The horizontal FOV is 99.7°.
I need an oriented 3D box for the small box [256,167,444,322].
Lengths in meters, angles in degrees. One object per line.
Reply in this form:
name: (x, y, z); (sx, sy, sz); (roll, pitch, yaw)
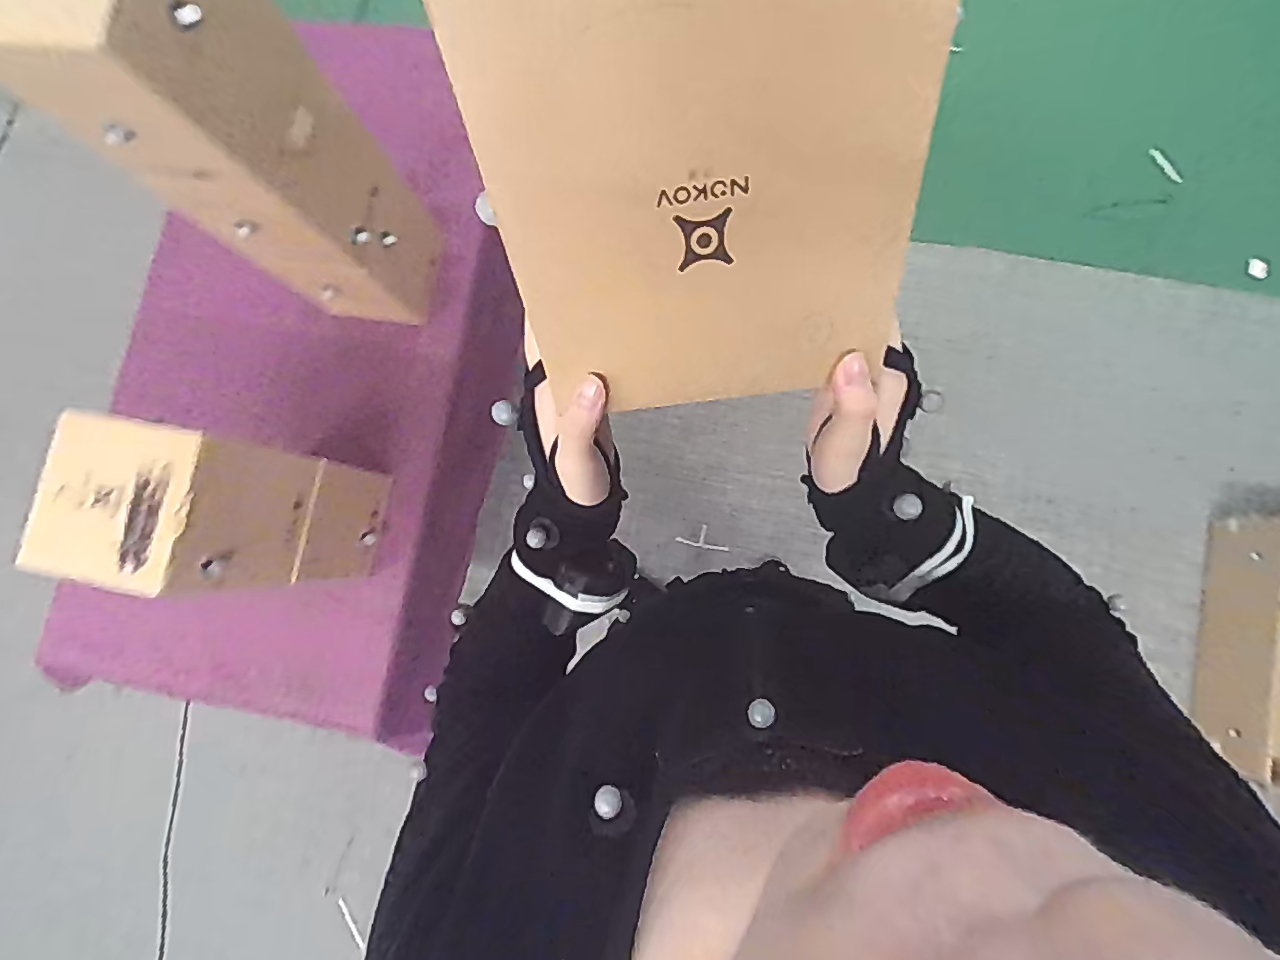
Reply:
small box: (-0.438, -0.360, 0.840); (0.179, 0.176, 0.168); (8, 84, 8)

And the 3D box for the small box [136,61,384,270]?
small box: (-0.456, -0.384, 0.679); (0.179, 0.176, 0.168); (8, 83, 8)

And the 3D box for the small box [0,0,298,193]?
small box: (-0.469, -0.407, 0.516); (0.168, 0.176, 0.179); (9, 83, 6)

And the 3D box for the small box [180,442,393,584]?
small box: (-0.502, 0.053, 0.791); (0.179, 0.176, 0.168); (10, 84, 7)
